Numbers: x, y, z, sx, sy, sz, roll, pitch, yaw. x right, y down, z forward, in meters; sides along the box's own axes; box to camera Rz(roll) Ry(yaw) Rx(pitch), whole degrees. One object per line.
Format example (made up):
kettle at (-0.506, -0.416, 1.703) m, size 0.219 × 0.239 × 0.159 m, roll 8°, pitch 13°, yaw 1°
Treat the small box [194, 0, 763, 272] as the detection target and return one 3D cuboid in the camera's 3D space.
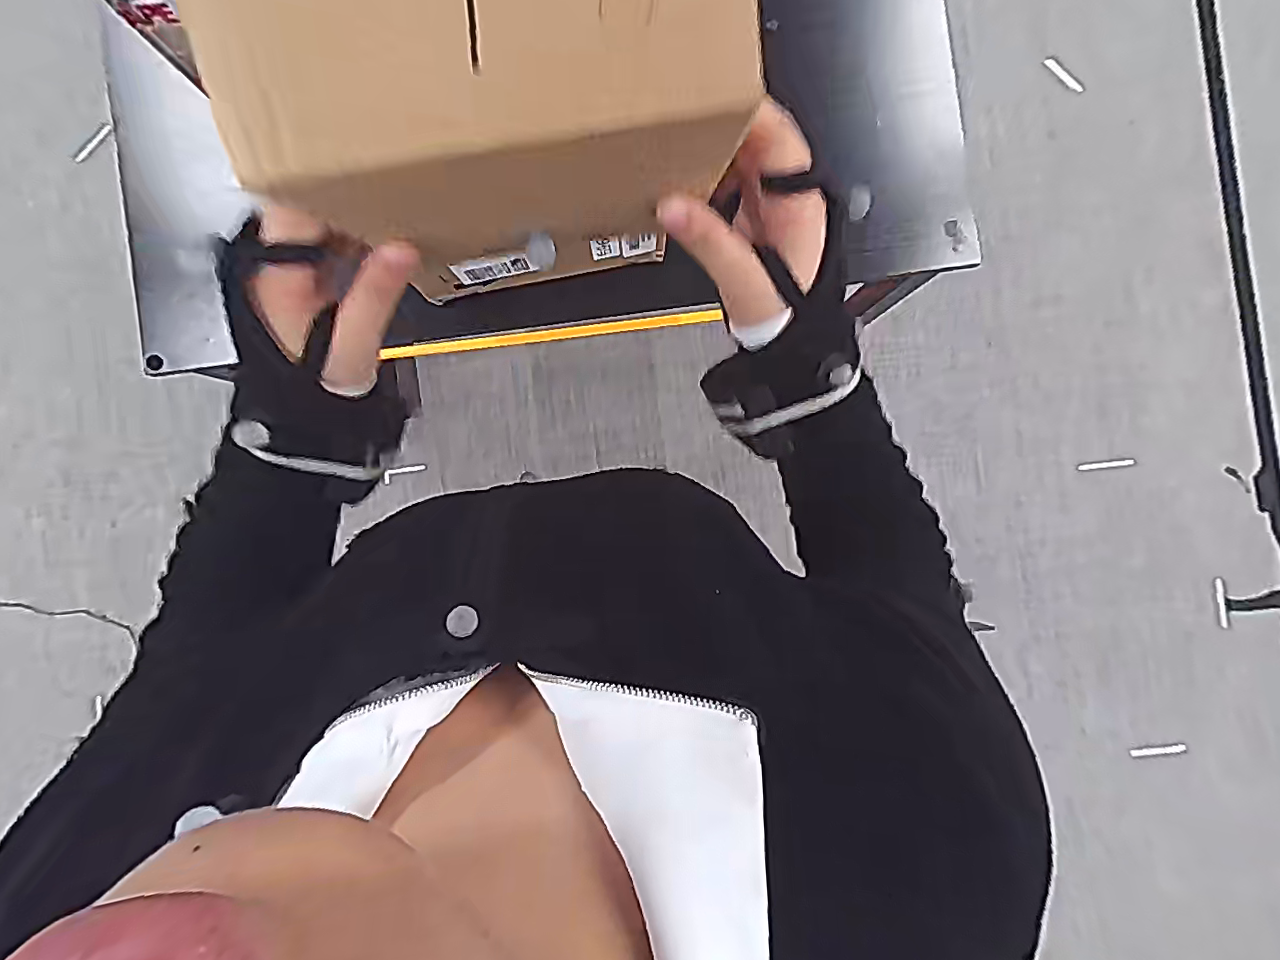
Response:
small box at (-0.057, -0.201, 0.229) m, size 0.168 × 0.176 × 0.179 m, roll -9°, pitch 104°, yaw -1°
